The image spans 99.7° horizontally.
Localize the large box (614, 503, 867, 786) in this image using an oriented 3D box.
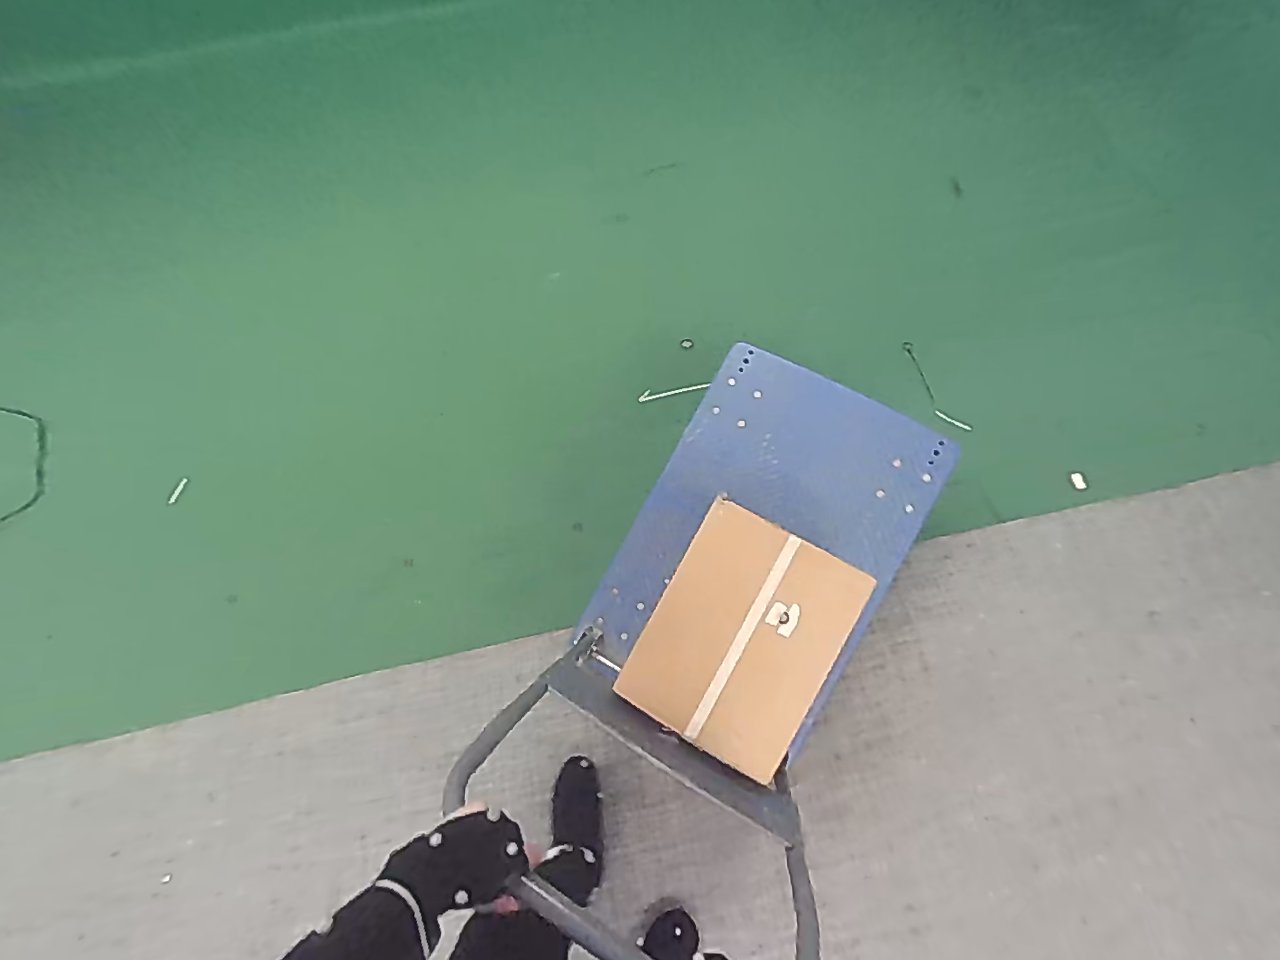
[{"bbox_3d":[0.195,0.306,1.109,0.320,0.320,0.408,29,87,10],"label":"large box"}]
